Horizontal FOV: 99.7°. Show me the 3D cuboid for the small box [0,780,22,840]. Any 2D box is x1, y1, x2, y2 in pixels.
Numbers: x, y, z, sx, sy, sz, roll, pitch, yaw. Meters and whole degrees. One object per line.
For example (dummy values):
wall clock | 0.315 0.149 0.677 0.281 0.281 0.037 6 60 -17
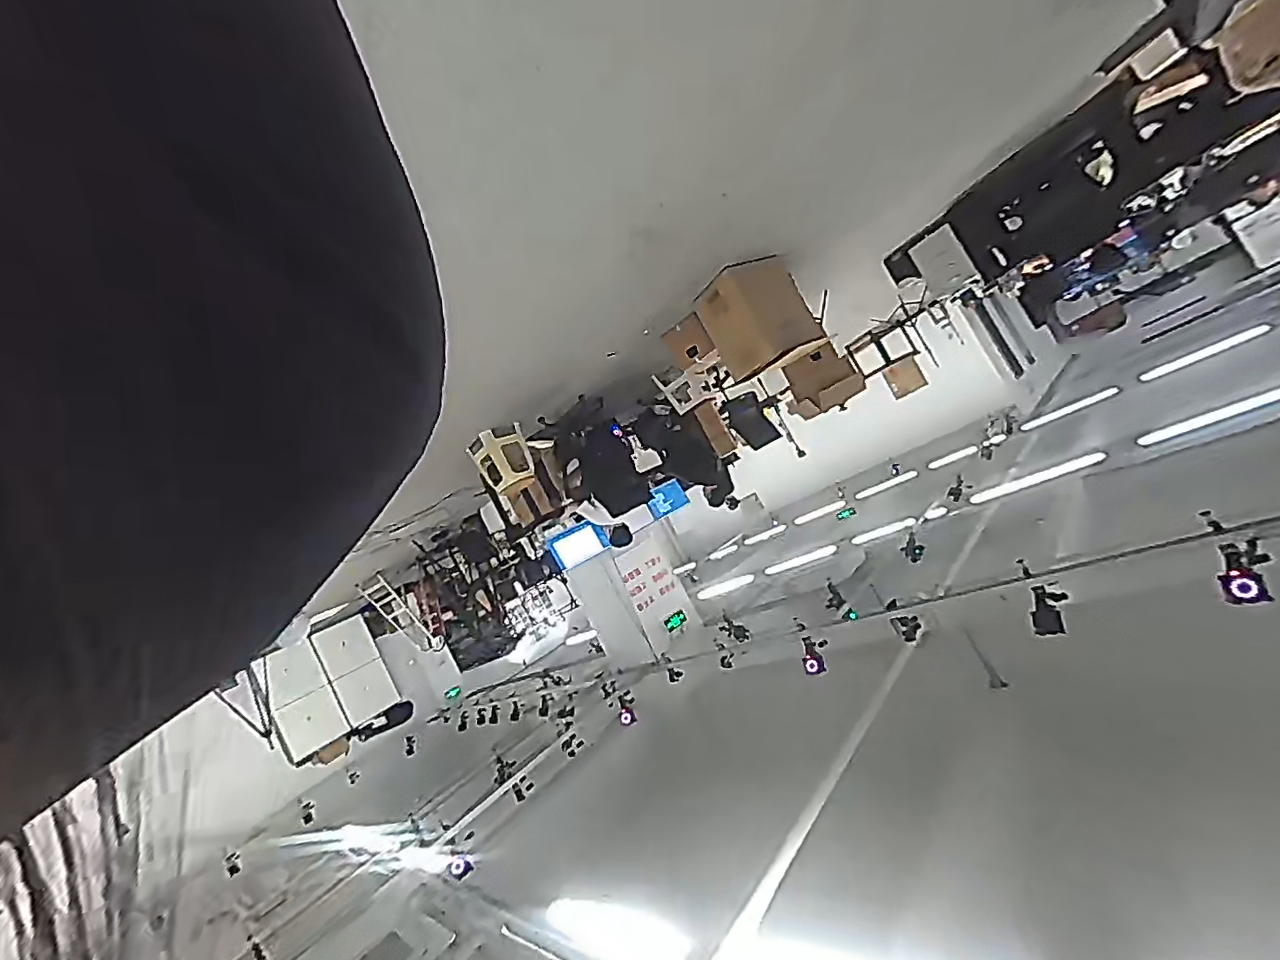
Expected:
small box | -1.824 0.925 1.448 0.168 0.176 0.179 -26 175 -44
